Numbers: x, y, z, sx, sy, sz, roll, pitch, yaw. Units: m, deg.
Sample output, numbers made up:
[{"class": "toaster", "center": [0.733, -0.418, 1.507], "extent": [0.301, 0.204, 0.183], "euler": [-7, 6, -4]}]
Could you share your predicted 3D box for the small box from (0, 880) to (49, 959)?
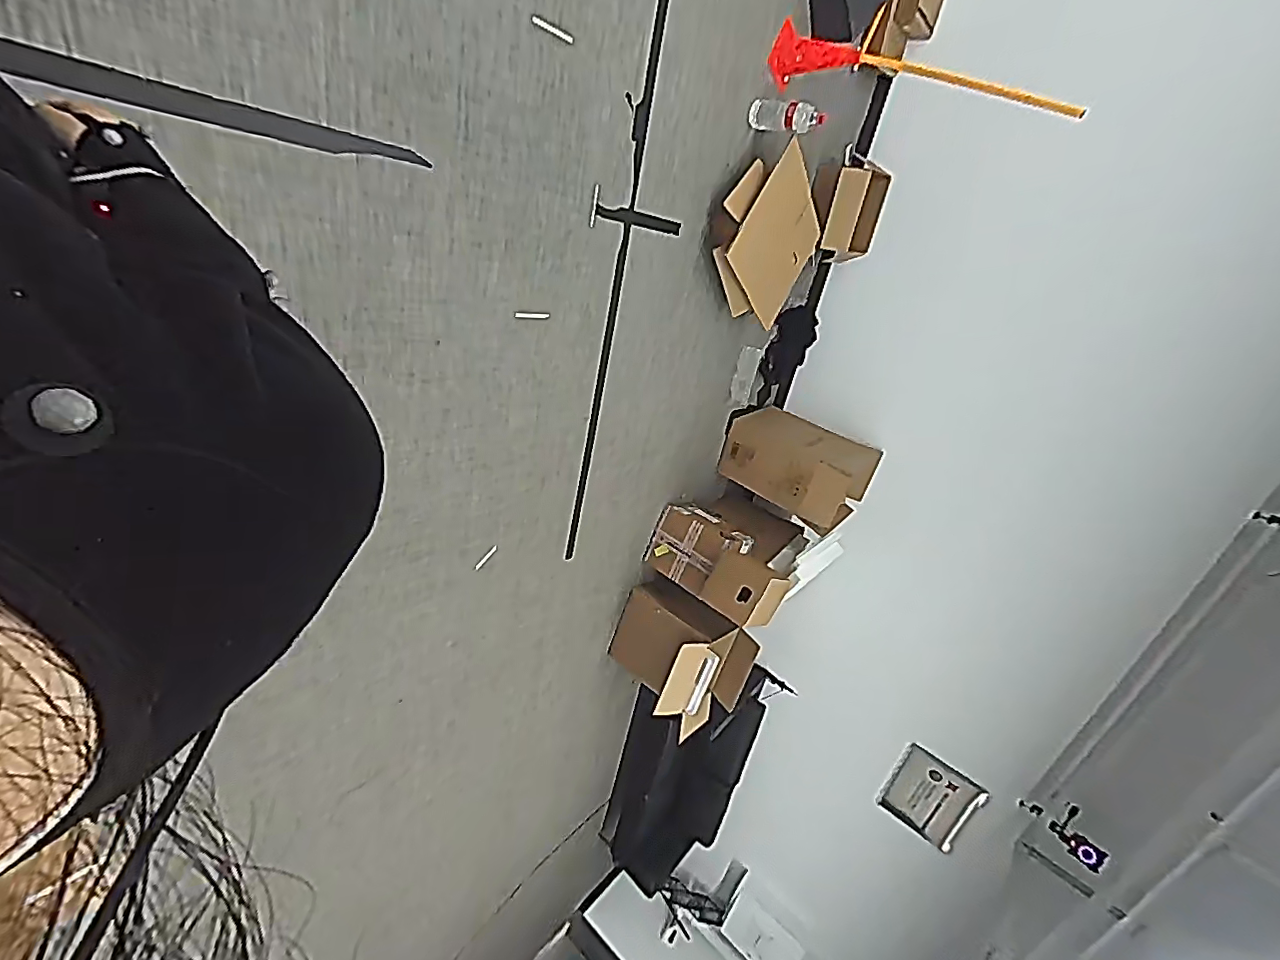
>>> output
[{"class": "small box", "center": [-1.296, 0.938, 1.047], "extent": [0.179, 0.176, 0.168], "euler": [-20, 129, -47]}]

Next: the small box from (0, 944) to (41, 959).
[{"class": "small box", "center": [-1.170, 0.997, 0.963], "extent": [0.168, 0.176, 0.179], "euler": [-20, 128, -48]}]
